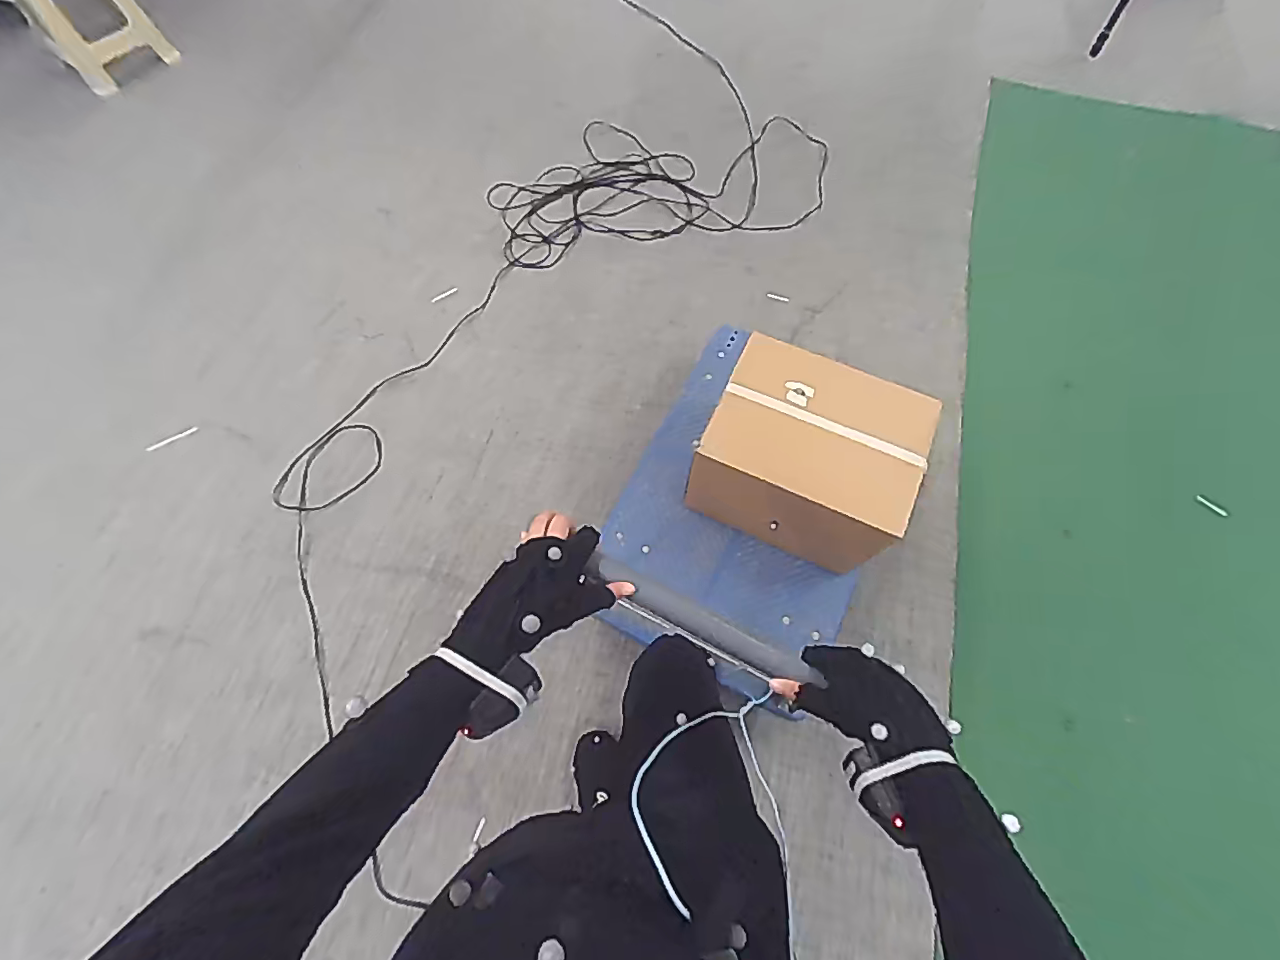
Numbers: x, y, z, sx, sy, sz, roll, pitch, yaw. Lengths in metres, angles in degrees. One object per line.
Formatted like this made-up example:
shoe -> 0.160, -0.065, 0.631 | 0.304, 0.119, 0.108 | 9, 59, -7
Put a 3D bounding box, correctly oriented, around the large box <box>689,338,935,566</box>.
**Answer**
large box -> 0.355, -0.048, 1.201 | 0.408, 0.320, 0.320 | 23, 70, 10
